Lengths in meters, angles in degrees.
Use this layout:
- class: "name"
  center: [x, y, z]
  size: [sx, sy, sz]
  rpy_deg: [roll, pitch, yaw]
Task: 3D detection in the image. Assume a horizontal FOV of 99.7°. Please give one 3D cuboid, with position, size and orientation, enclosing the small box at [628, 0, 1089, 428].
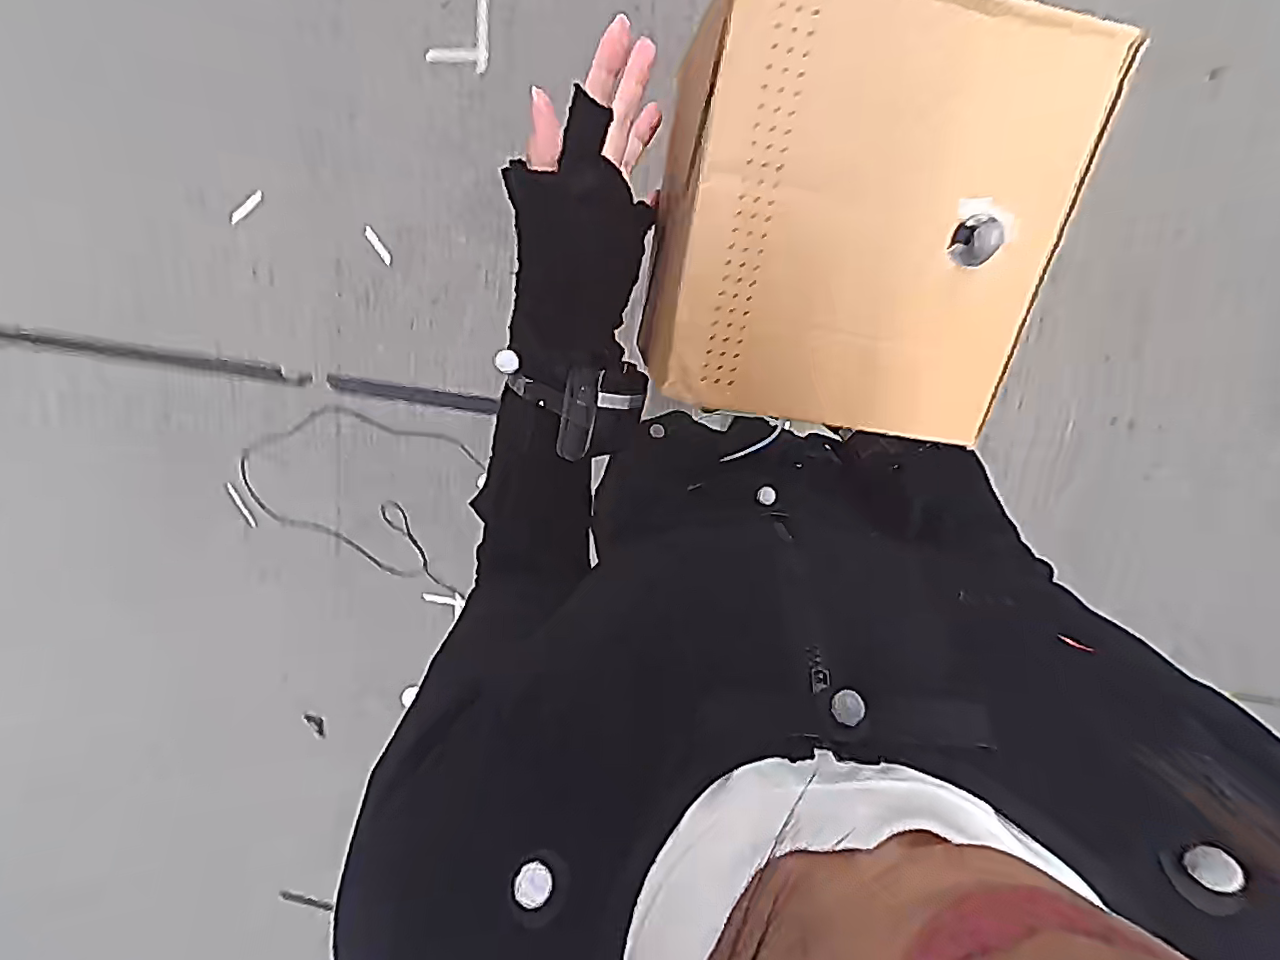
- class: "small box"
  center: [0.092, -0.141, 0.320]
  size: [0.176, 0.168, 0.179]
  rpy_deg: [7, 110, -7]
